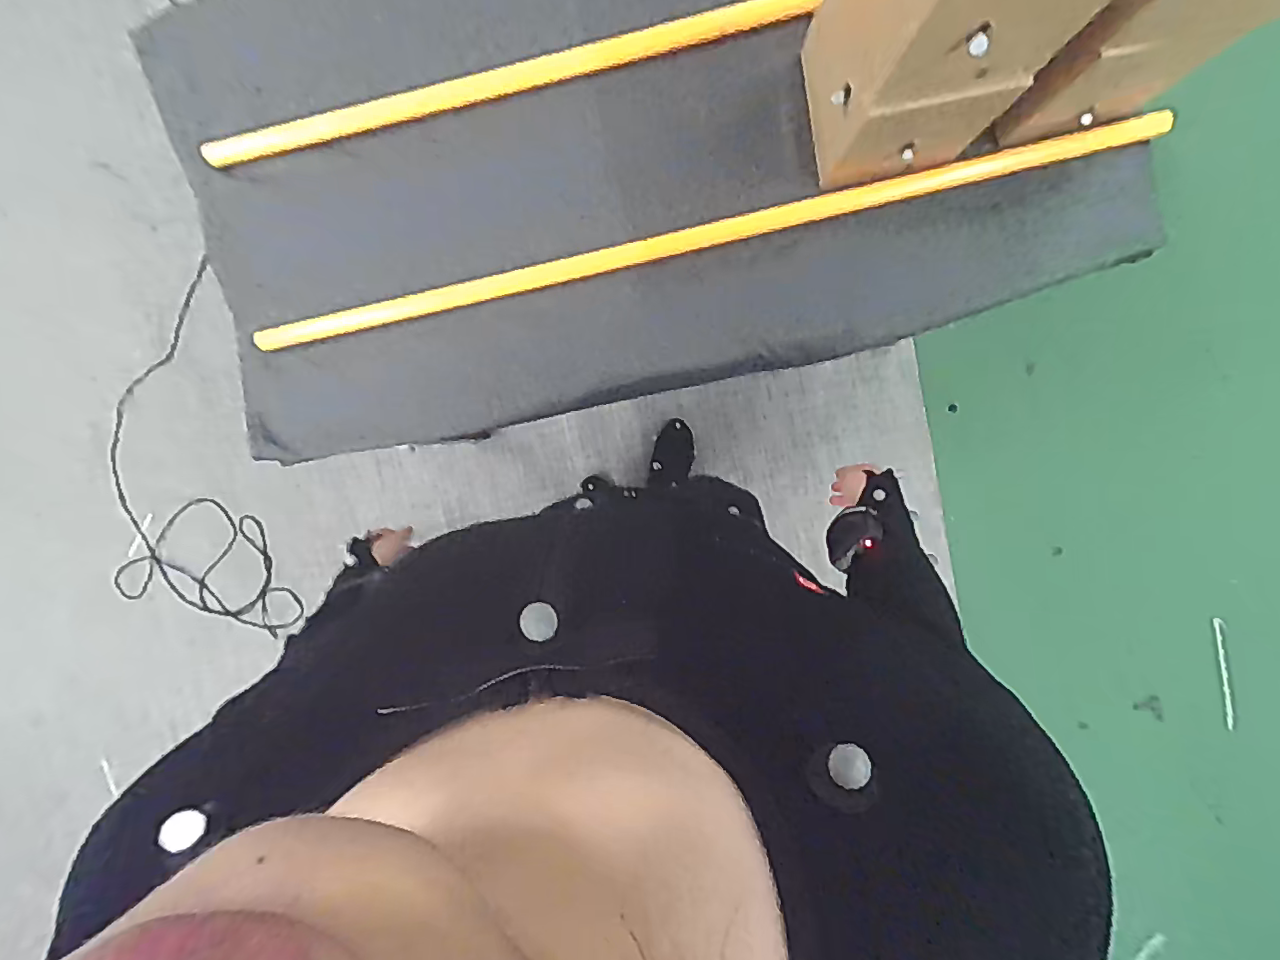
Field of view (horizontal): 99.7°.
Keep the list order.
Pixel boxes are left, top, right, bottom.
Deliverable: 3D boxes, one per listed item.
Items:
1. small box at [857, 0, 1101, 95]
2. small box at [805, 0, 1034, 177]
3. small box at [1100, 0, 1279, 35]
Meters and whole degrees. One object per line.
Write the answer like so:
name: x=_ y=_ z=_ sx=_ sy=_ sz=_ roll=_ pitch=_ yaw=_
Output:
small box: x=0.290 y=-0.460 z=0.449 sx=0.168 sy=0.176 sz=0.179 roll=-10 pitch=94 yaw=4
small box: x=0.298 y=-0.471 z=0.611 sx=0.168 sy=0.176 sz=0.179 roll=-10 pitch=95 yaw=3
small box: x=0.515 y=-0.506 z=0.433 sx=0.179 sy=0.176 sz=0.168 roll=-8 pitch=96 yaw=2
